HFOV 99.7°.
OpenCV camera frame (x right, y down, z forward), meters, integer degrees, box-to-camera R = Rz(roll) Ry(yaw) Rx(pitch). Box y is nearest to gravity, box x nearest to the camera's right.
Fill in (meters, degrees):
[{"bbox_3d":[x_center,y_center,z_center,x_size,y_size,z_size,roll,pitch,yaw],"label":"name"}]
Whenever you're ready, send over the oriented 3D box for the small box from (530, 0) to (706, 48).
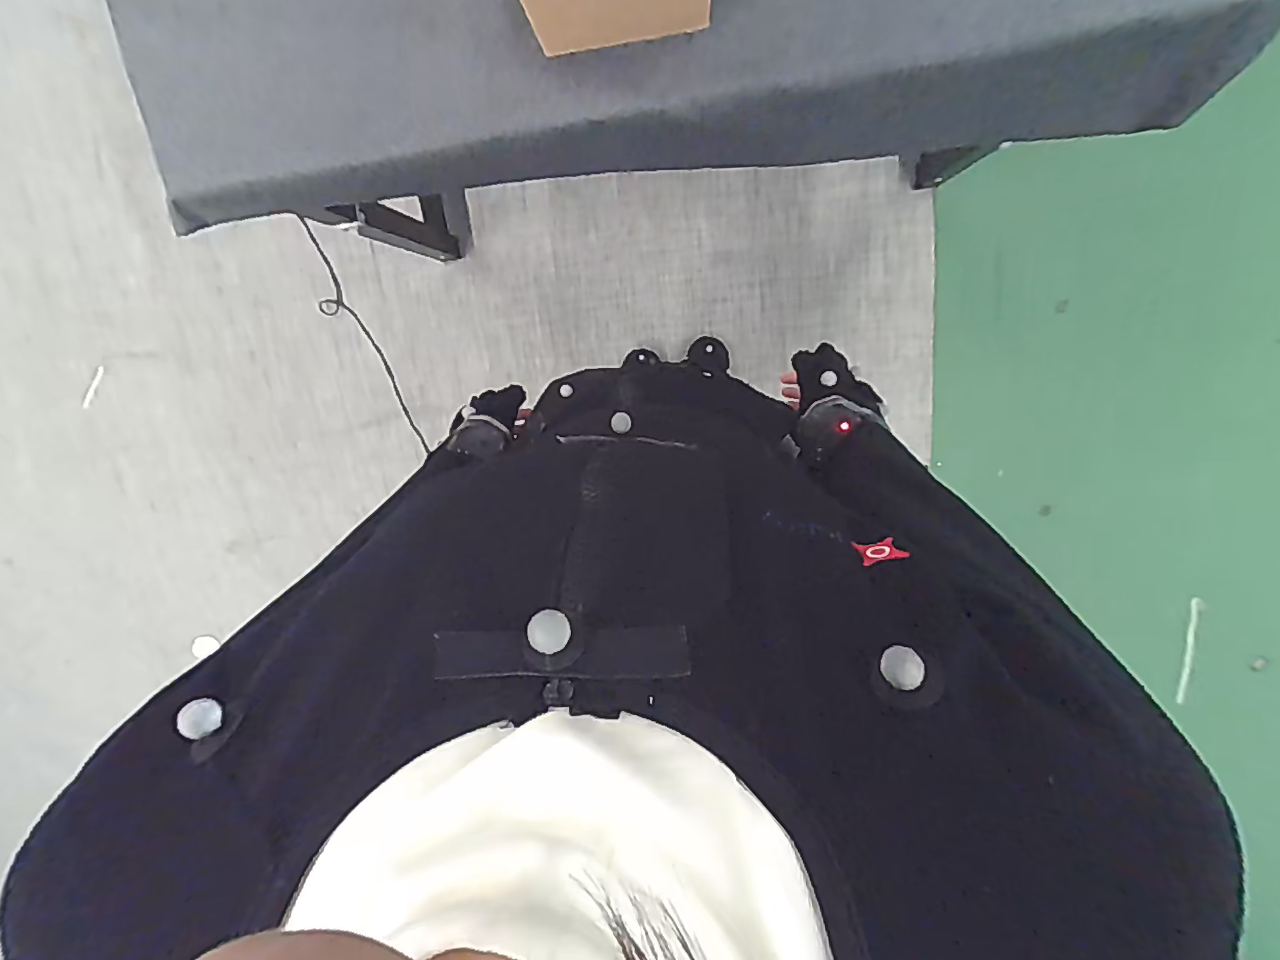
[{"bbox_3d":[-0.030,-0.534,0.490,0.179,0.176,0.168,-5,105,5],"label":"small box"}]
